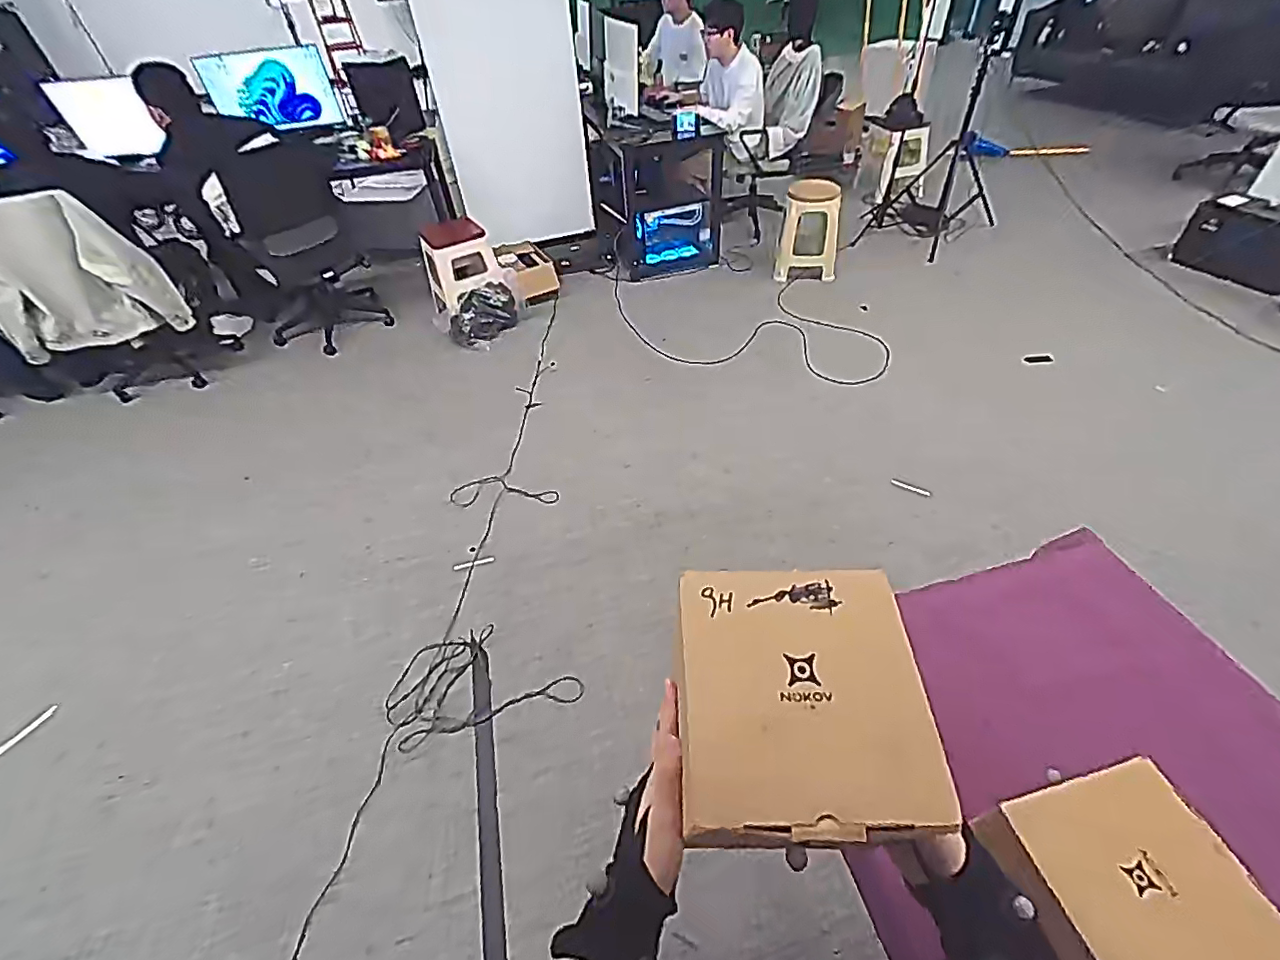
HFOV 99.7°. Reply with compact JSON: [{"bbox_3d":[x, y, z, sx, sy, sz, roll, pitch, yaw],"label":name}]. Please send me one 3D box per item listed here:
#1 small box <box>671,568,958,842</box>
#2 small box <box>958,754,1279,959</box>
[{"bbox_3d":[0.113,0.186,0.438,0.168,0.176,0.179,0,54,0],"label":"small box"},{"bbox_3d":[0.456,0.409,0.542,0.179,0.176,0.168,-12,46,-8],"label":"small box"}]
